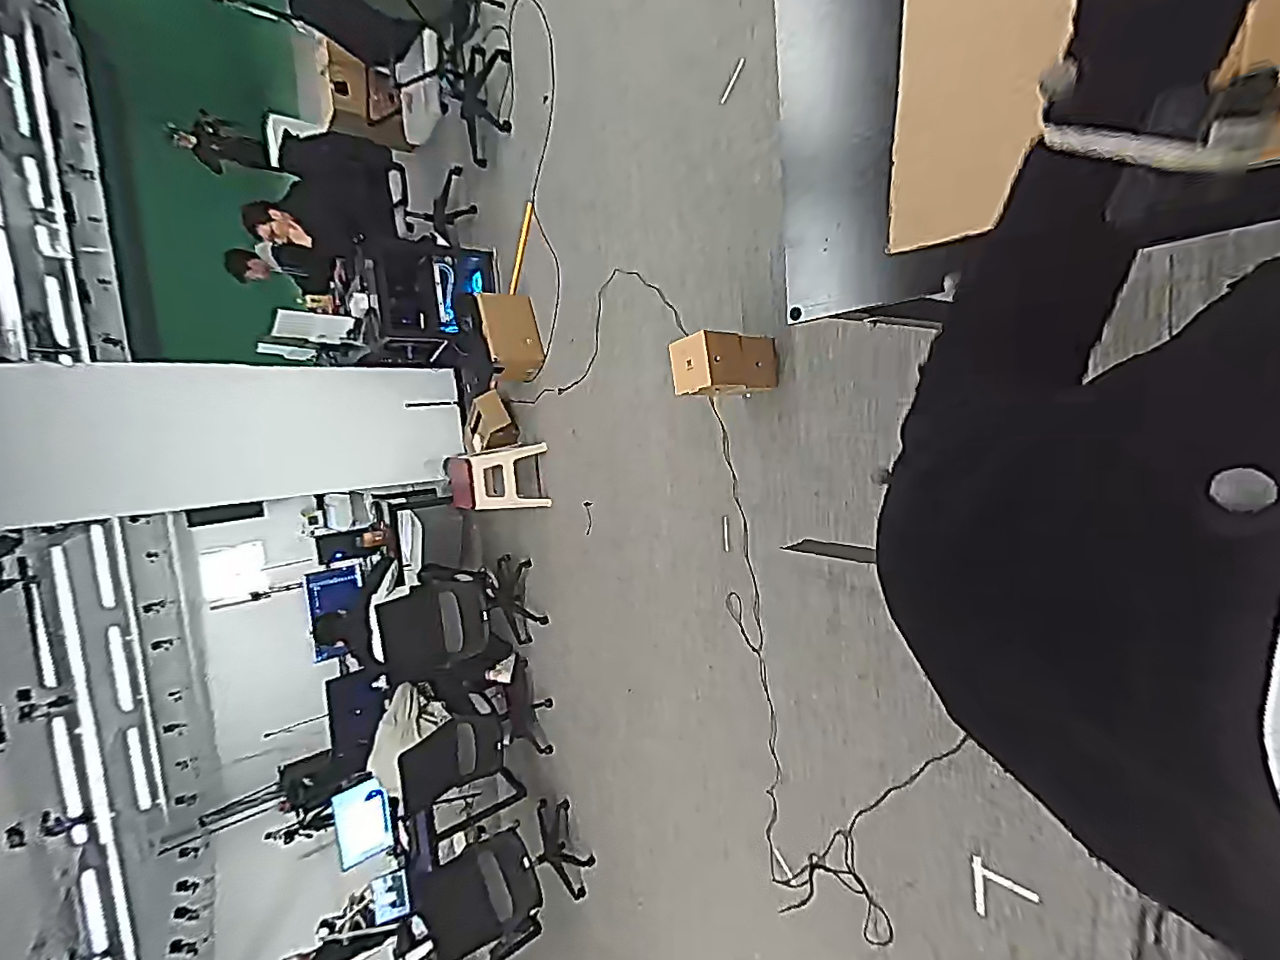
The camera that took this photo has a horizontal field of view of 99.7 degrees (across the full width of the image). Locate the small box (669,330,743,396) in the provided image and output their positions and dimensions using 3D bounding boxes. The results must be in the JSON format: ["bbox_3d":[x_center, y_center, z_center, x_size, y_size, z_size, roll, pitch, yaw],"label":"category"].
[{"bbox_3d":[0.221,-0.377,1.766,0.168,0.176,0.179,-8,89,52],"label":"small box"}]

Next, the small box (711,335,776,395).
[{"bbox_3d":[0.349,-0.390,1.864,0.168,0.176,0.179,-3,95,52],"label":"small box"}]
